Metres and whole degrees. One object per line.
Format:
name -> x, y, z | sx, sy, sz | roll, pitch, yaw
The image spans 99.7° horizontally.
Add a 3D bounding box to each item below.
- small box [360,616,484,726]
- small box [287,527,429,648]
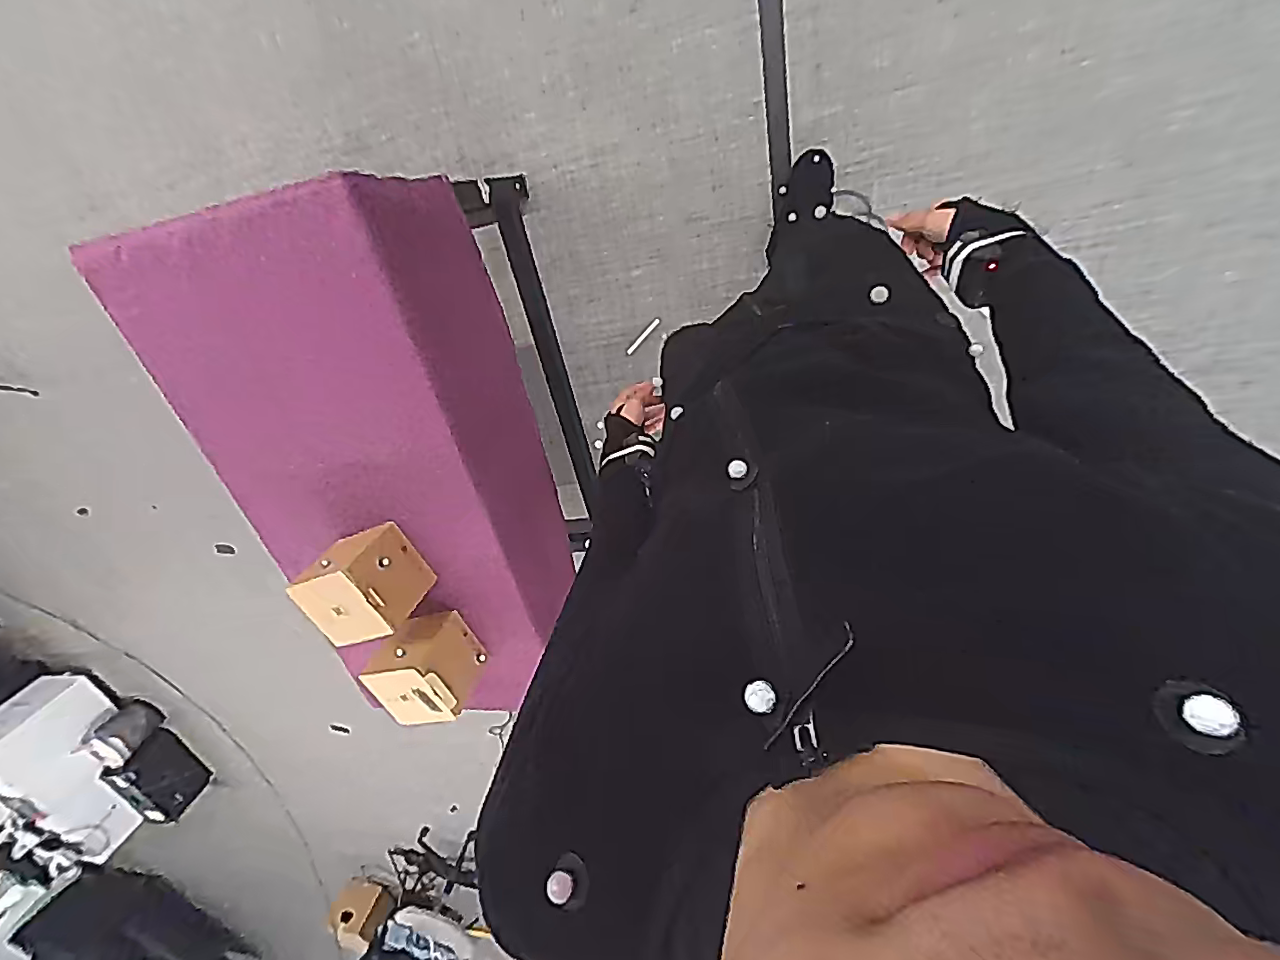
small box -> -0.483, 0.431, 1.234 | 0.179, 0.176, 0.168 | -16, 115, 22
small box -> -0.574, 0.220, 1.132 | 0.179, 0.176, 0.168 | -18, 114, 22
